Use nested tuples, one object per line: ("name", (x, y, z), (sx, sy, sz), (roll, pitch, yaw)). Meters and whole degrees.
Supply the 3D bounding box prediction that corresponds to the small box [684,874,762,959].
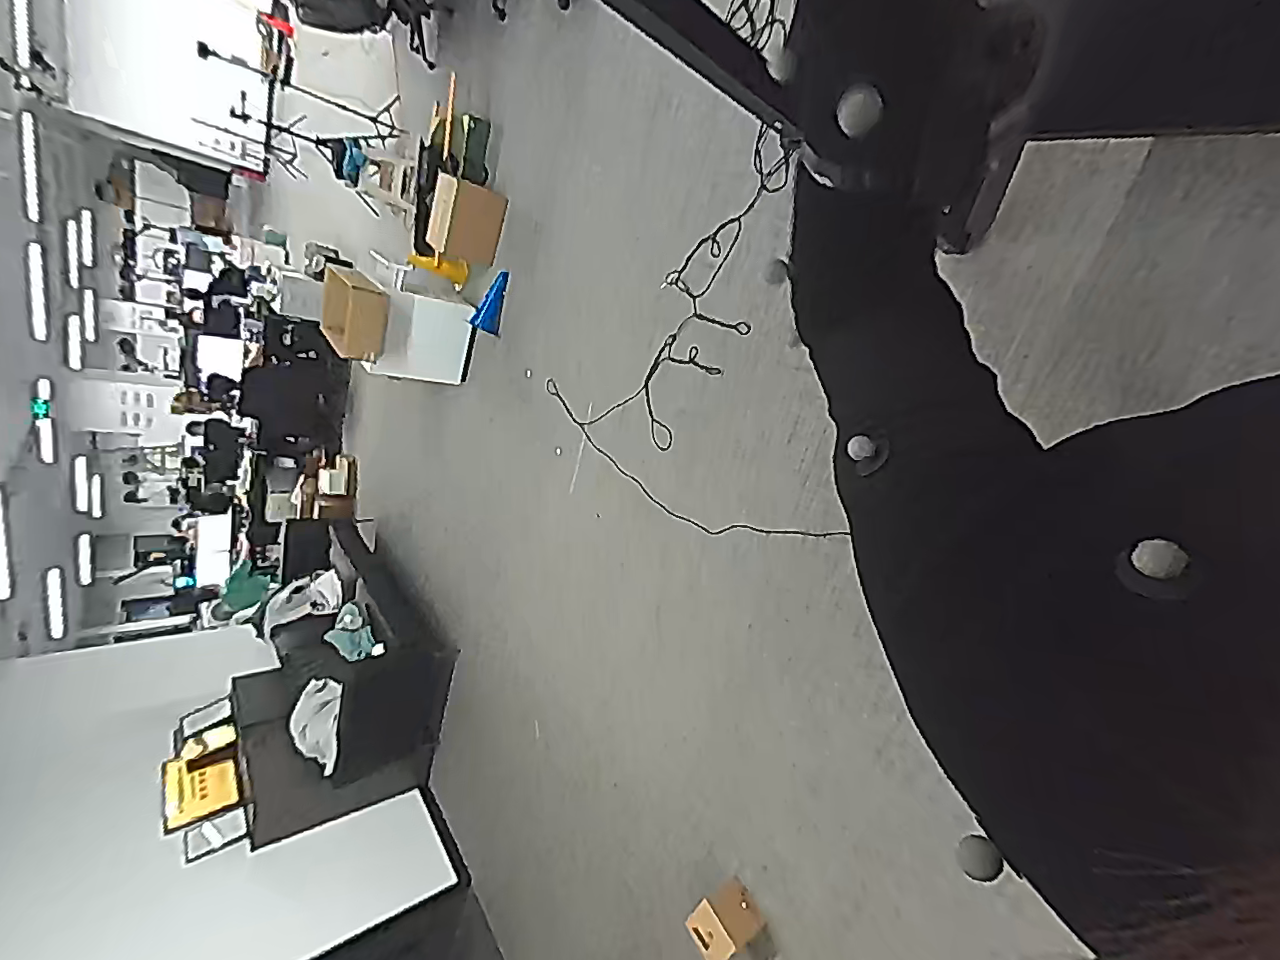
("small box", (0.289, 1.520, 1.868), (0.168, 0.176, 0.179), (44, 121, 38))
